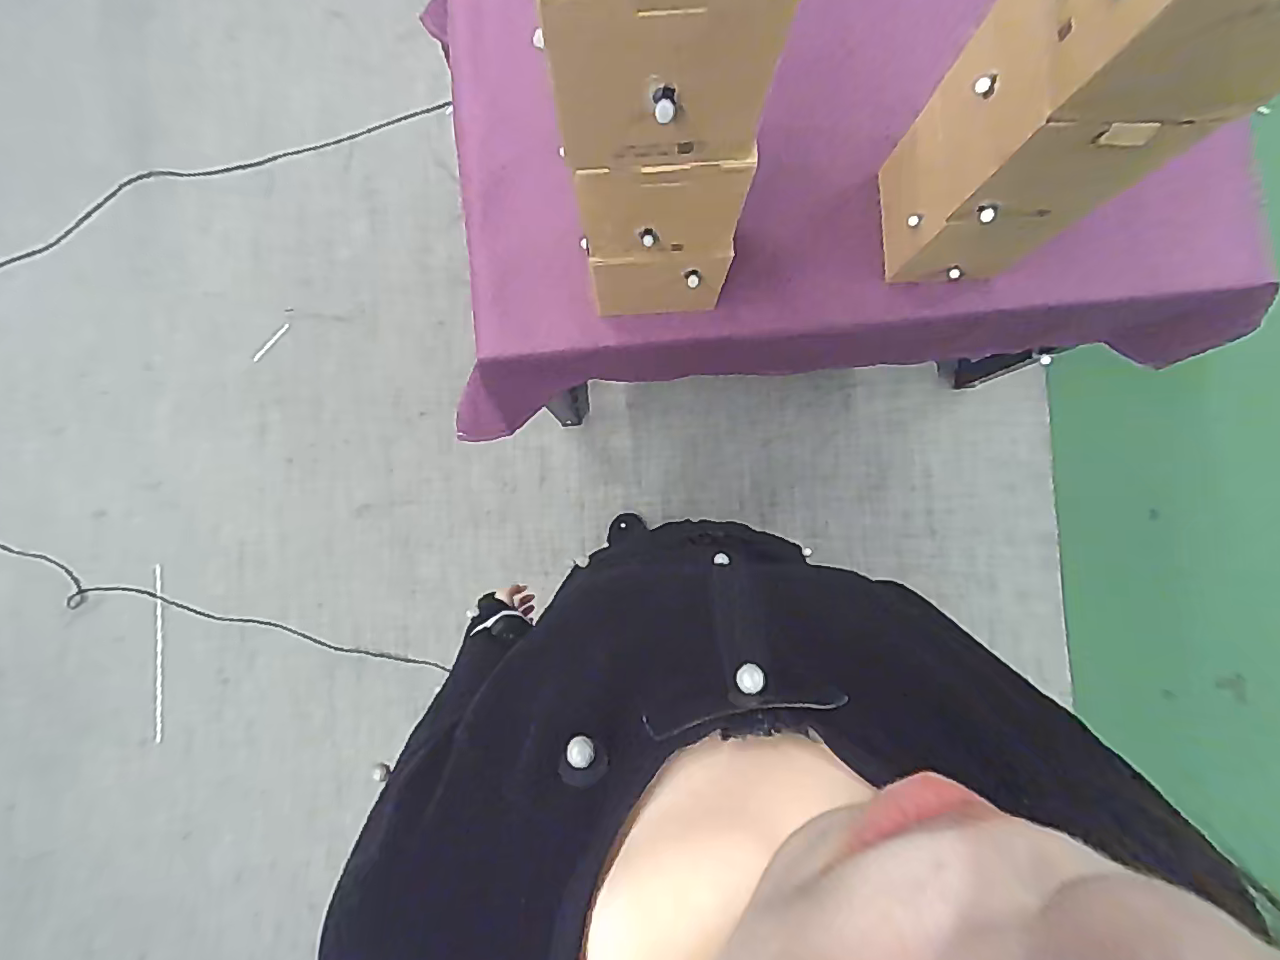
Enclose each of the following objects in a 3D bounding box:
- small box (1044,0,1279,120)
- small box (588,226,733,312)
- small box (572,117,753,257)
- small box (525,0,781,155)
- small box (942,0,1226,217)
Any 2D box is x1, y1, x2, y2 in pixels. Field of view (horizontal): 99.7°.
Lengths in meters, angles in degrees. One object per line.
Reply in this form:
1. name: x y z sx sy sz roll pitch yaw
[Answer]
1. small box: 0.441 -0.402 0.401 0.179 0.176 0.168 1 88 0
2. small box: 0.022 -0.338 0.731 0.179 0.176 0.168 -3 85 1
3. small box: 0.017 -0.358 0.569 0.168 0.176 0.179 -2 87 0
4. small box: 0.007 -0.372 0.405 0.168 0.176 0.179 -4 87 -1
5. small box: 0.441 -0.398 0.564 0.168 0.176 0.179 0 86 1
